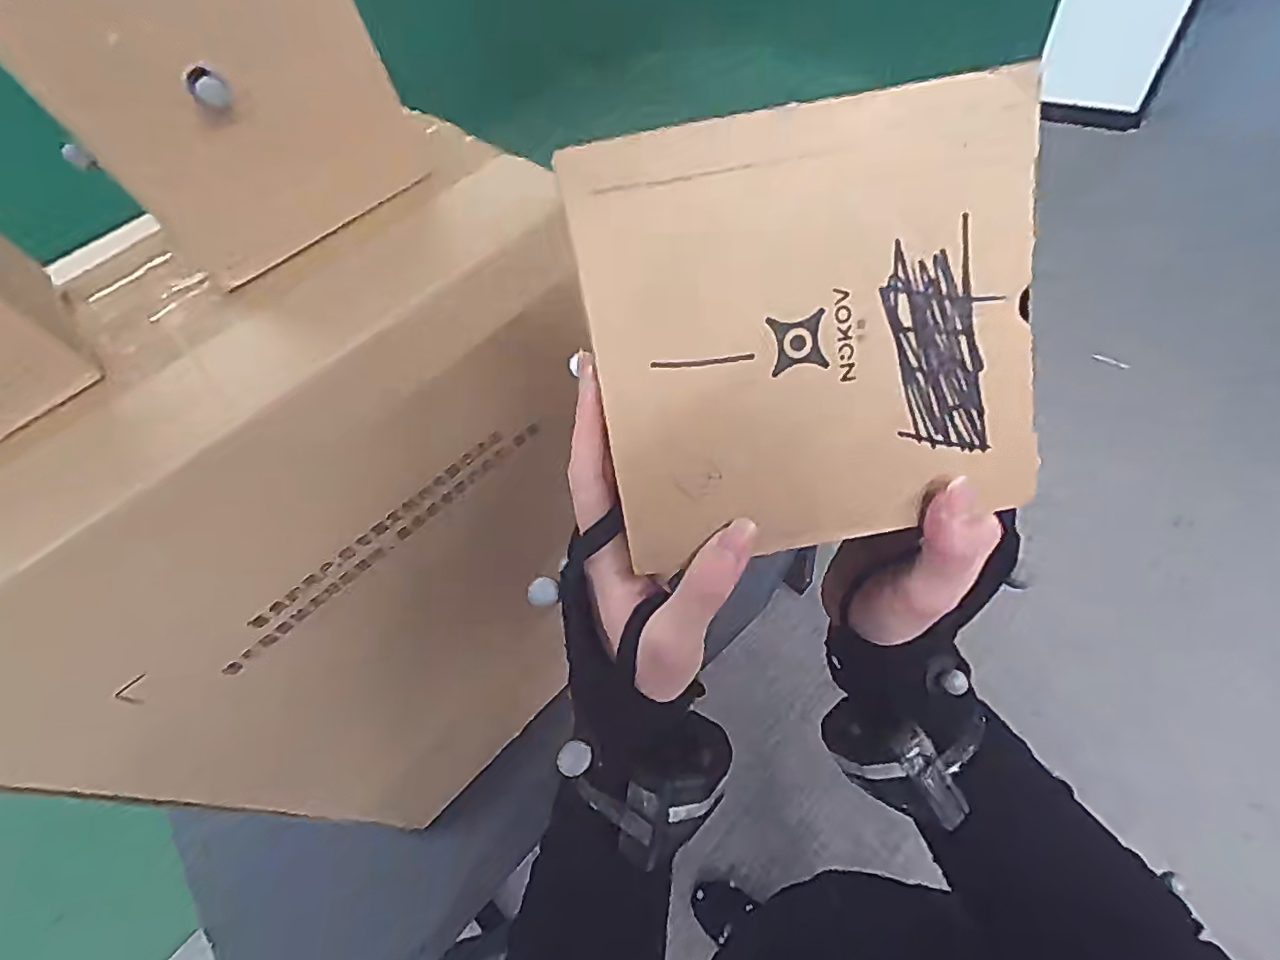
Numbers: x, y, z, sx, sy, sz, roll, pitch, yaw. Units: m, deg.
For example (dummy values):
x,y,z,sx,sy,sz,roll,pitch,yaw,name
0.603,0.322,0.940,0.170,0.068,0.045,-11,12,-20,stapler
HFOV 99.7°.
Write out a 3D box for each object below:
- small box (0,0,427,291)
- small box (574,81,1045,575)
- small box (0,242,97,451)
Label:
x,y,z,sx,sy,sz,roll,pitch,yaw,name
-0.288,-0.264,0.371,0.179,0.176,0.168,-42,61,-15,small box
0.069,-0.069,0.289,0.179,0.168,0.176,-10,13,0,small box
-0.467,-0.095,0.300,0.168,0.176,0.179,-43,59,-18,small box
